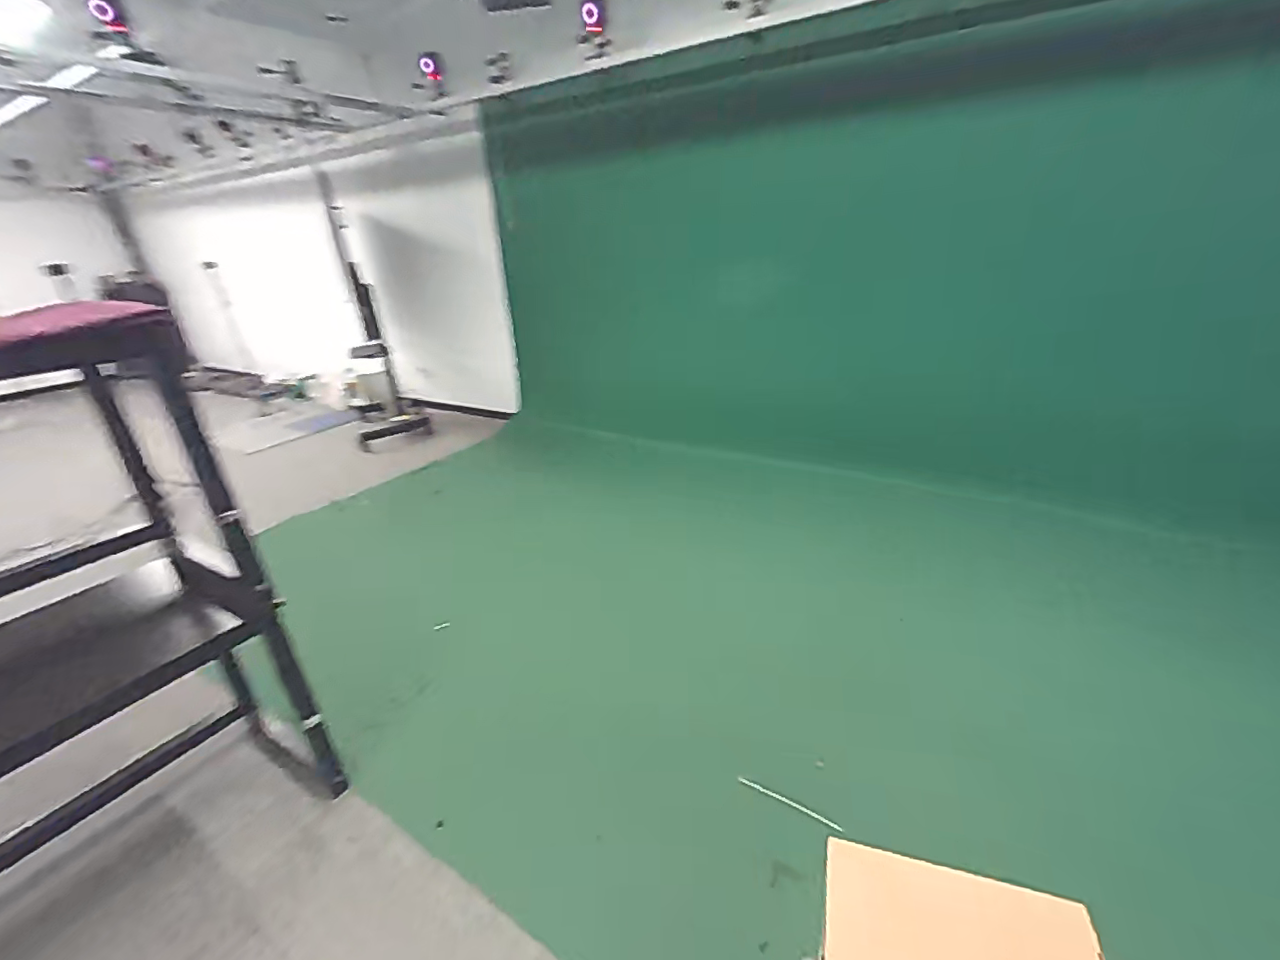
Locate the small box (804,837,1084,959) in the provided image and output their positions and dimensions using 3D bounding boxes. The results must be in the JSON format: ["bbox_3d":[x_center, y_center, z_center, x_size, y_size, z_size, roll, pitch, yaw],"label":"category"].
[{"bbox_3d":[0.204,0.402,0.377,0.179,0.176,0.168,4,25,19],"label":"small box"}]
